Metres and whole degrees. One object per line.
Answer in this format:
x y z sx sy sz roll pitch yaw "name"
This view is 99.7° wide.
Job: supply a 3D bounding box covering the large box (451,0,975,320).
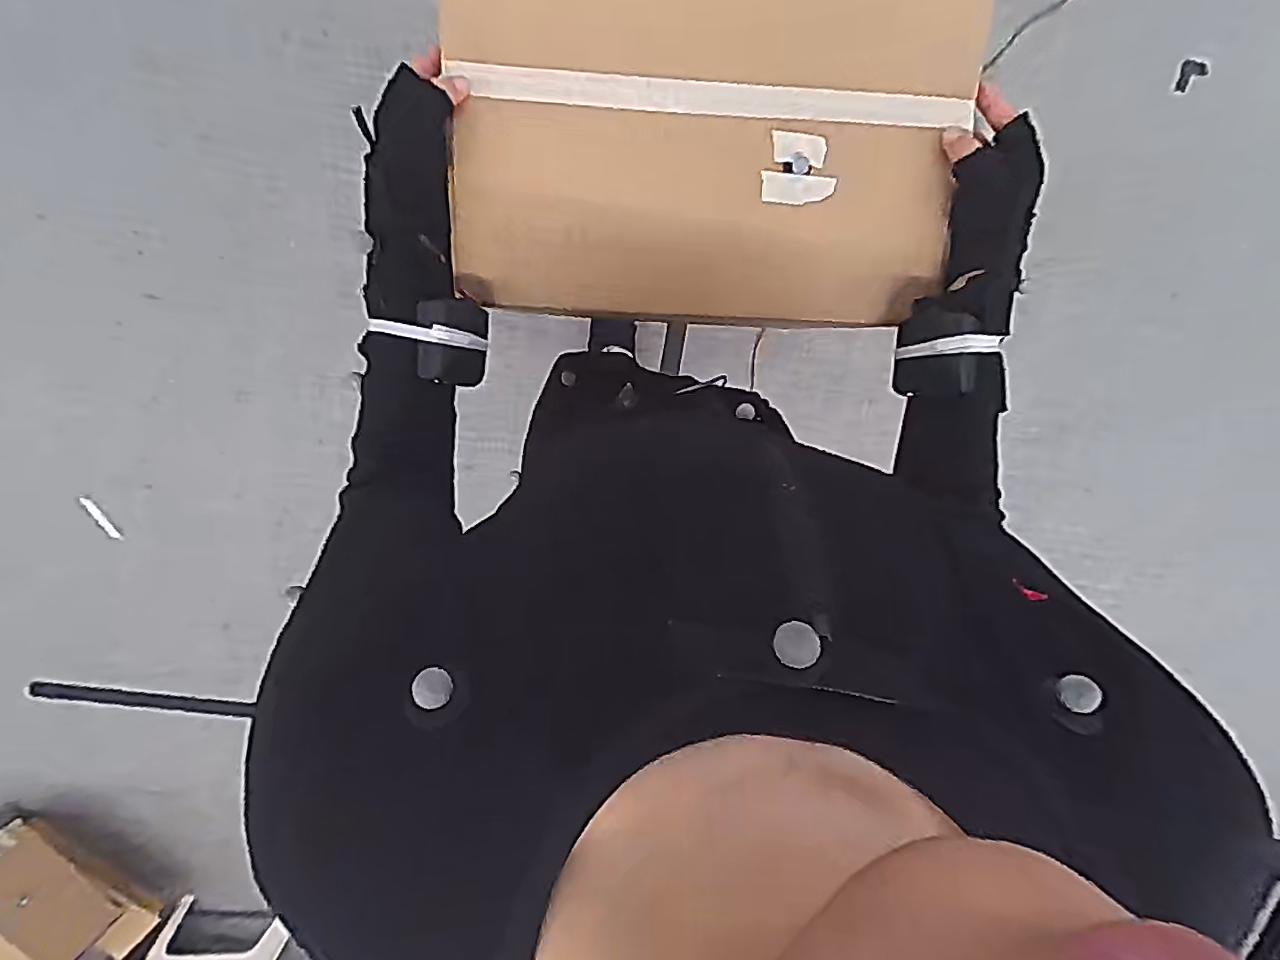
0.045 -0.335 0.565 0.408 0.320 0.320 1 106 -5 "large box"
